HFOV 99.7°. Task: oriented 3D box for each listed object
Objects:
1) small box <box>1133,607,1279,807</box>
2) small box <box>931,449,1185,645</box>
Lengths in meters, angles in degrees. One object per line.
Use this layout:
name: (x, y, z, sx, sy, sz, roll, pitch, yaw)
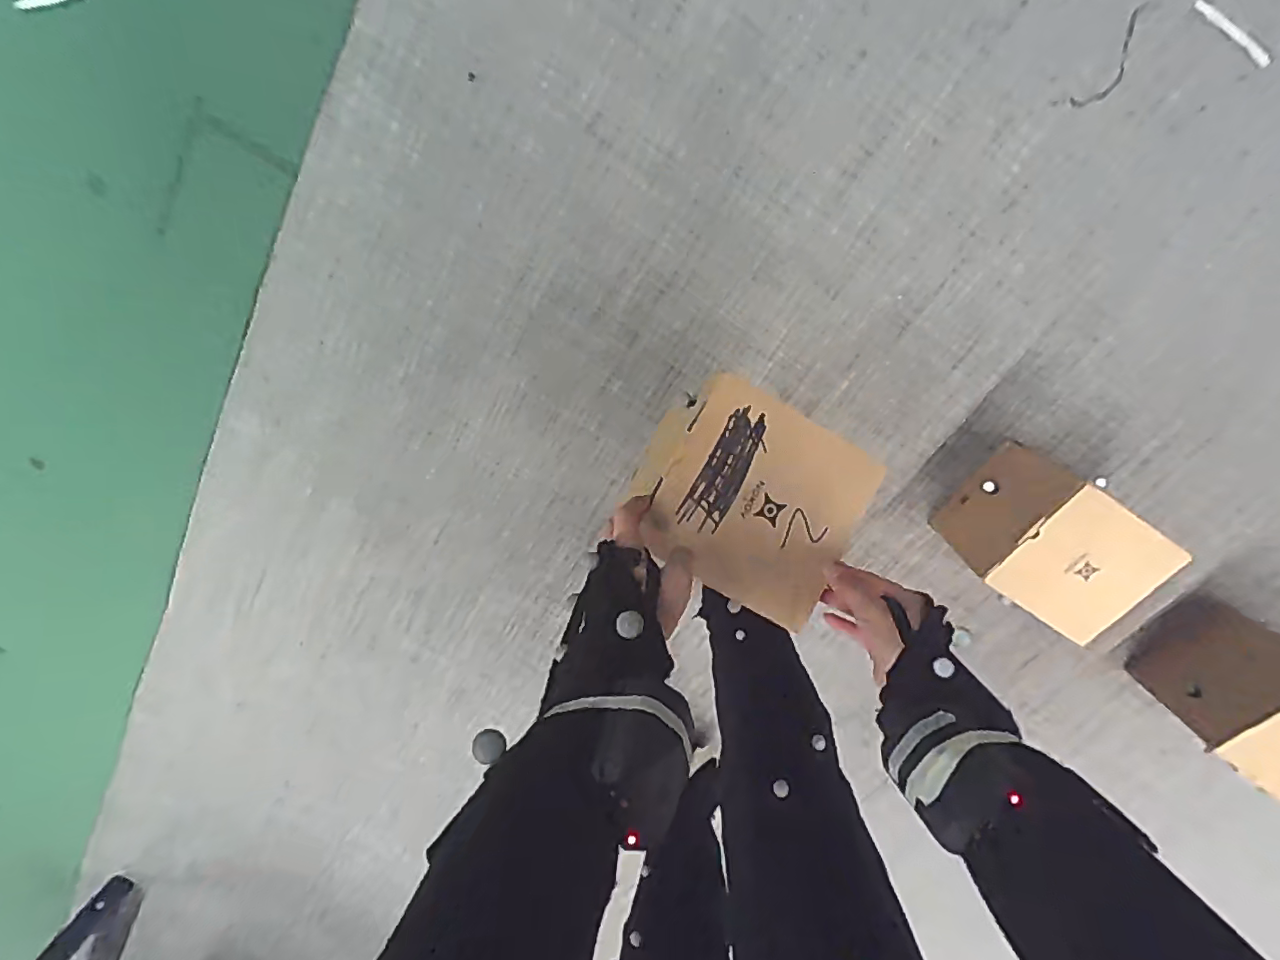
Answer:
small box: (0.897, 0.327, 0.800, 0.168, 0.176, 0.179, 36, 109, -10)
small box: (0.549, 0.080, 0.740, 0.179, 0.176, 0.168, 33, 110, -7)
